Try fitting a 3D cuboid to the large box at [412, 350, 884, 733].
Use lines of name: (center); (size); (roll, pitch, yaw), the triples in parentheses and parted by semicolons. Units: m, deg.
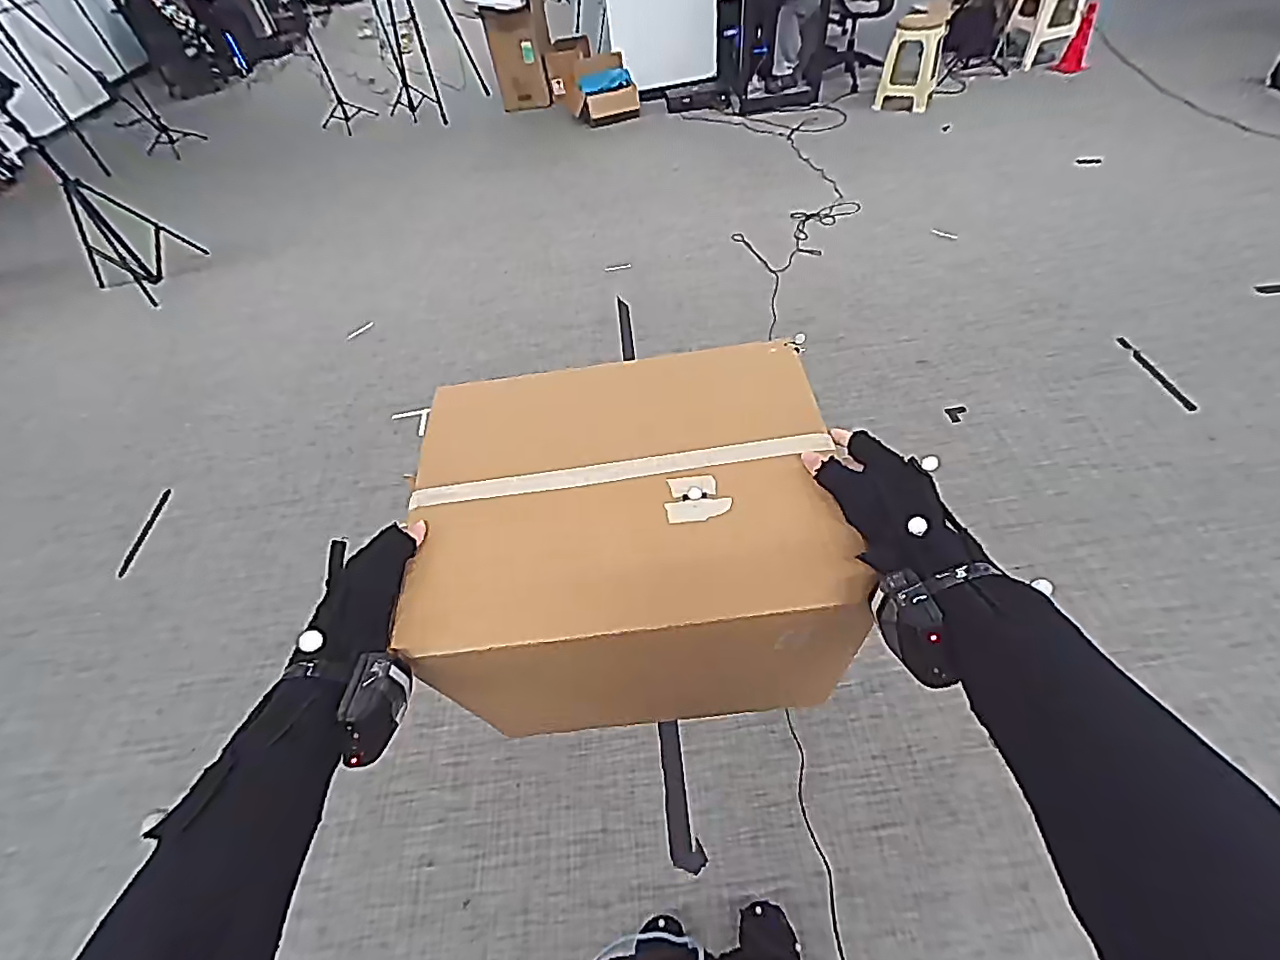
large box: (0.005, 0.087, 0.651); (0.408, 0.320, 0.320); (-7, 54, 2)
